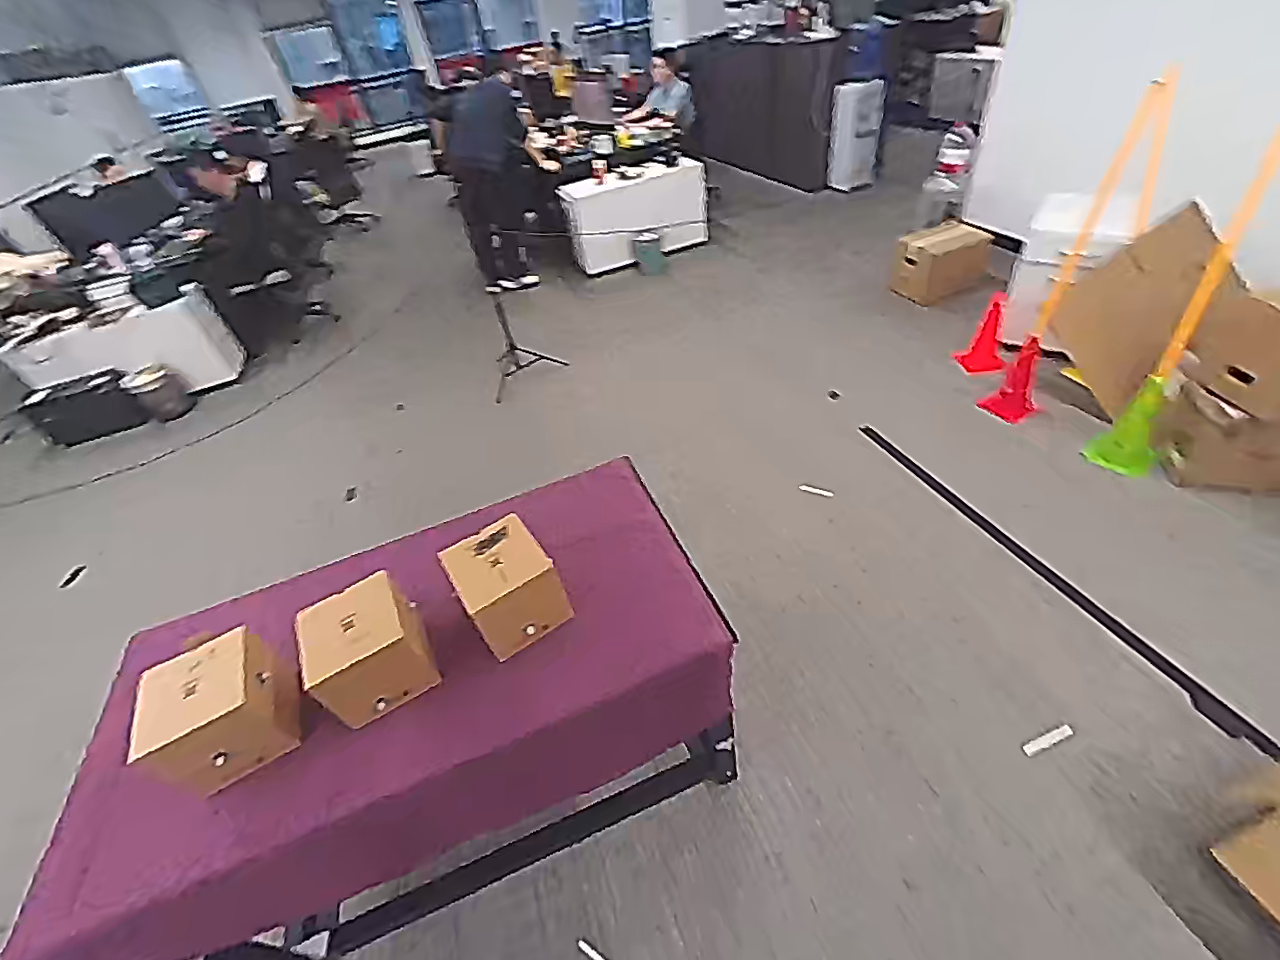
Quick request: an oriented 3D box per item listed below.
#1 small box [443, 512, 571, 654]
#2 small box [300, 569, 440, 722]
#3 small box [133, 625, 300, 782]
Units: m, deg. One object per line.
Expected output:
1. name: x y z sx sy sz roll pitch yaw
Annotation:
1. small box: -0.257 0.202 1.059 0.168 0.176 0.179 -30 46 -19
2. small box: -0.495 0.306 1.001 0.168 0.176 0.179 -28 45 -16
3. small box: -0.726 0.398 0.950 0.168 0.176 0.179 -26 44 -16
